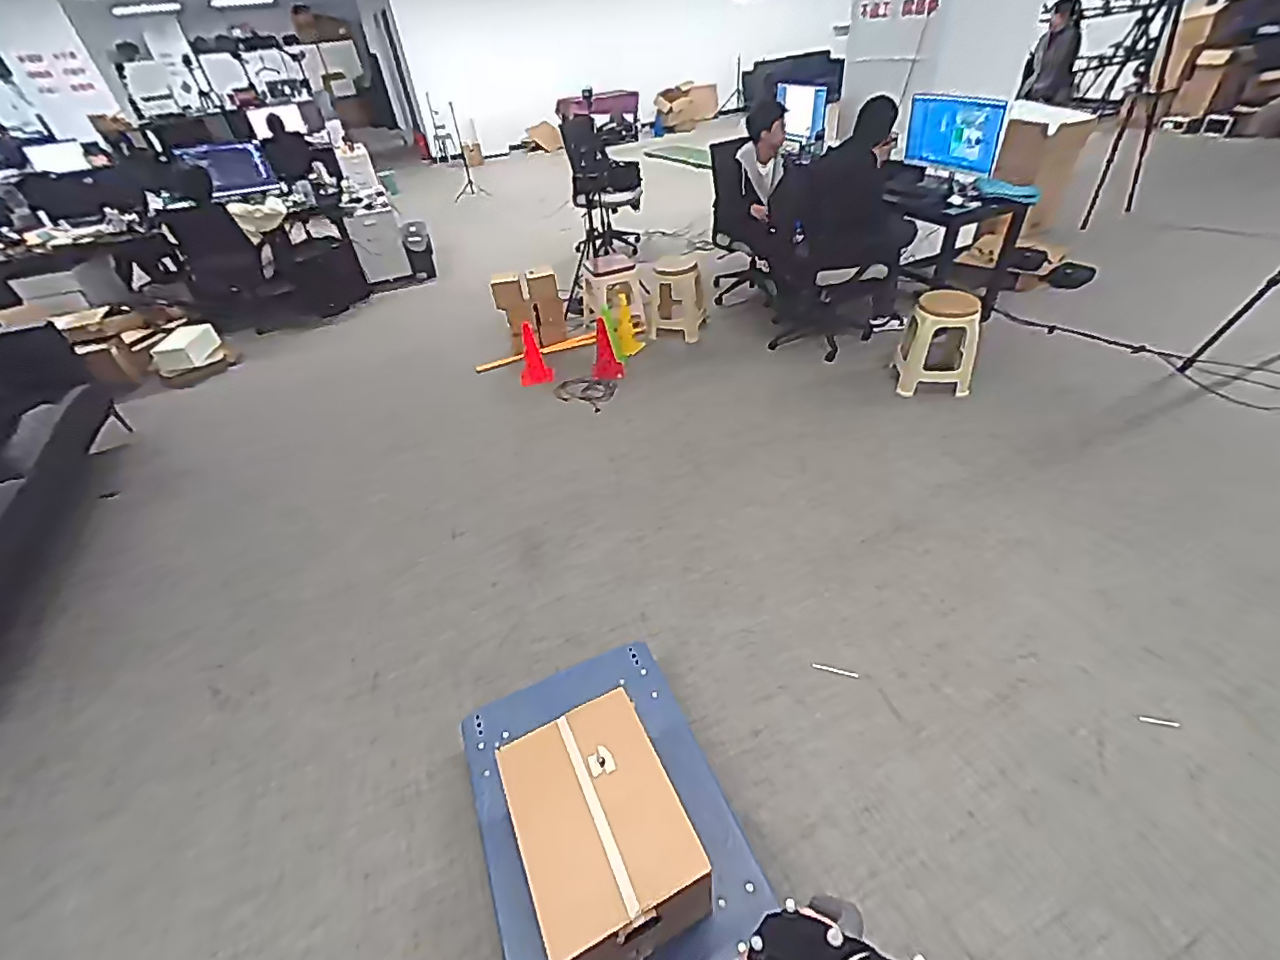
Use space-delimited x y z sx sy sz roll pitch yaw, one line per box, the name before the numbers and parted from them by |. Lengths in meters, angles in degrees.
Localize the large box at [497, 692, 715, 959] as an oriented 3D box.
large box | -0.072 0.770 1.182 0.320 0.320 0.408 -22 42 -16
